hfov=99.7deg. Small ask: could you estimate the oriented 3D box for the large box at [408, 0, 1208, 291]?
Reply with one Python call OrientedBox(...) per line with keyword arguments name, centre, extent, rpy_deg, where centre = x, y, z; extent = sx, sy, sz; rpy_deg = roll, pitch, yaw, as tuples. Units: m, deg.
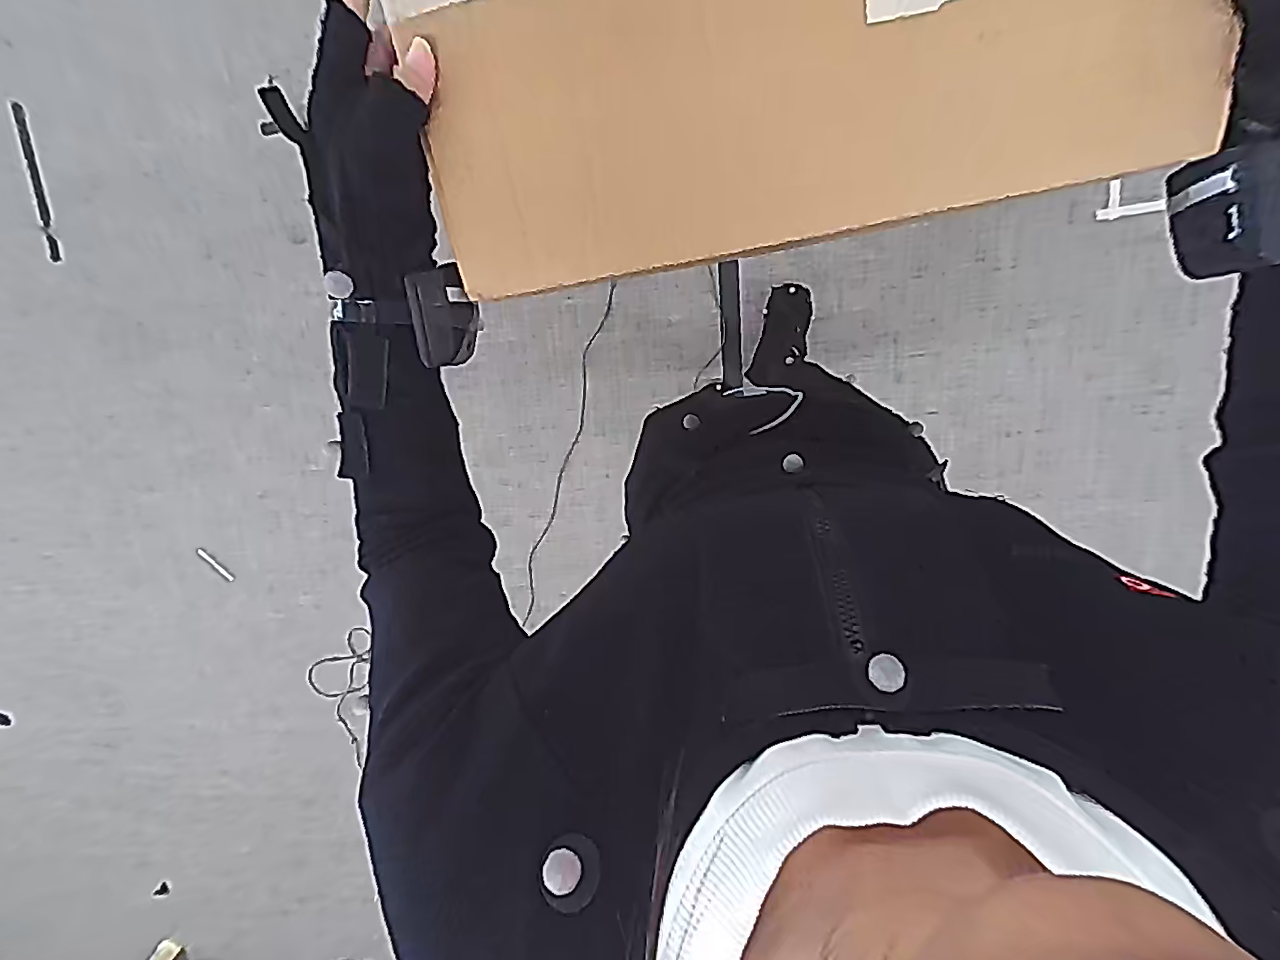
OrientedBox(name="large box", centre=(0.079, -0.344, 0.403), extent=(0.408, 0.320, 0.320), rpy_deg=(-8, 111, 10))
